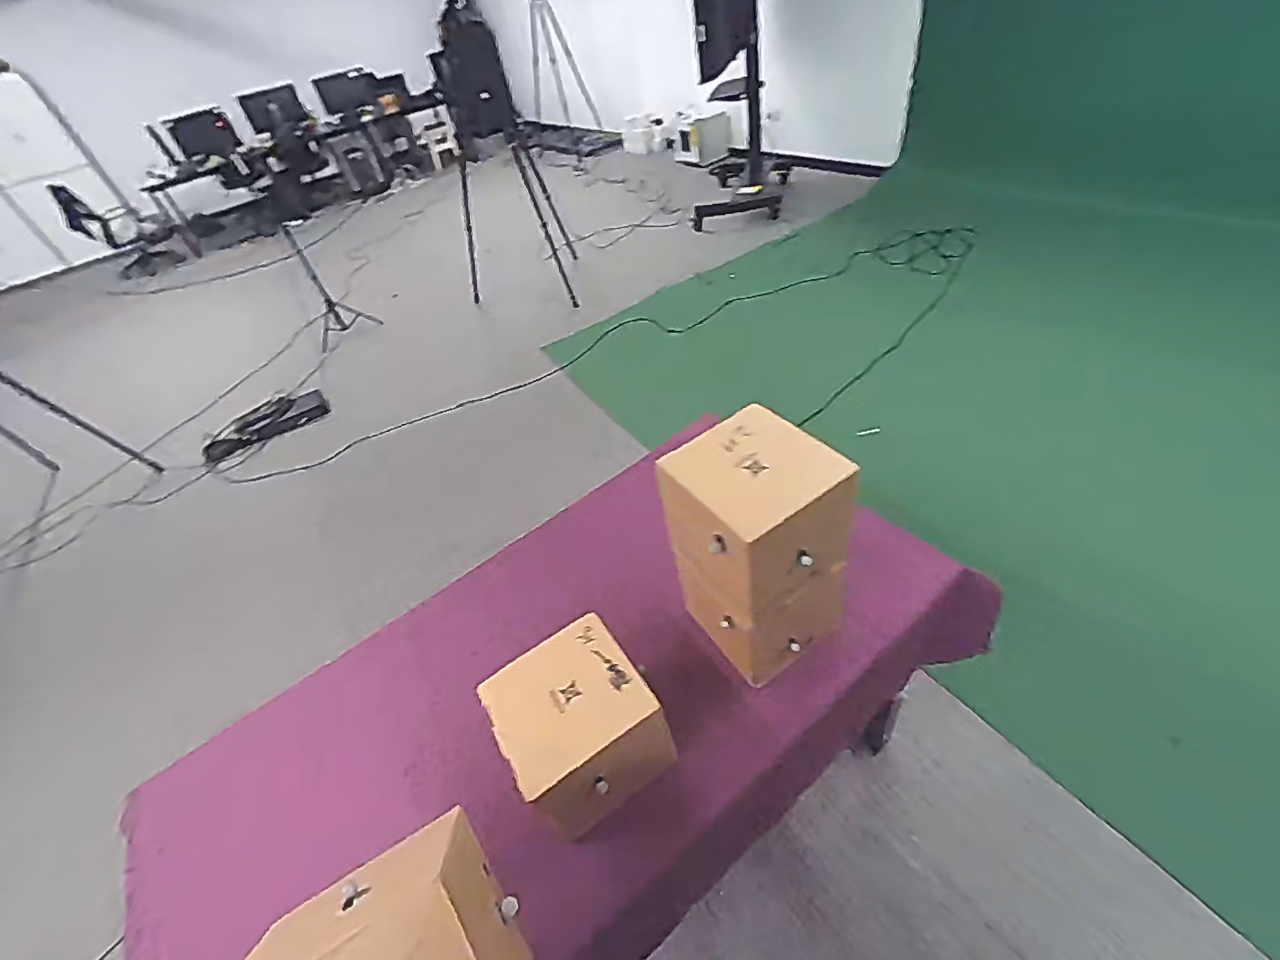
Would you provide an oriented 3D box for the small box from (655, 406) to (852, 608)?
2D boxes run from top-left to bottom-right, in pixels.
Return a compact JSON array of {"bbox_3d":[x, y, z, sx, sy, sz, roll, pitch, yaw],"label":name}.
[{"bbox_3d":[0.143,0.040,0.698,0.168,0.176,0.179,-30,45,-17],"label":"small box"}]

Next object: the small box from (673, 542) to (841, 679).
[{"bbox_3d":[0.171,0.158,0.810,0.168,0.176,0.179,-30,45,-16],"label":"small box"}]

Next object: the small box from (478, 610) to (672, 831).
[{"bbox_3d":[-0.078,0.315,0.707,0.179,0.176,0.168,-30,45,-16],"label":"small box"}]
